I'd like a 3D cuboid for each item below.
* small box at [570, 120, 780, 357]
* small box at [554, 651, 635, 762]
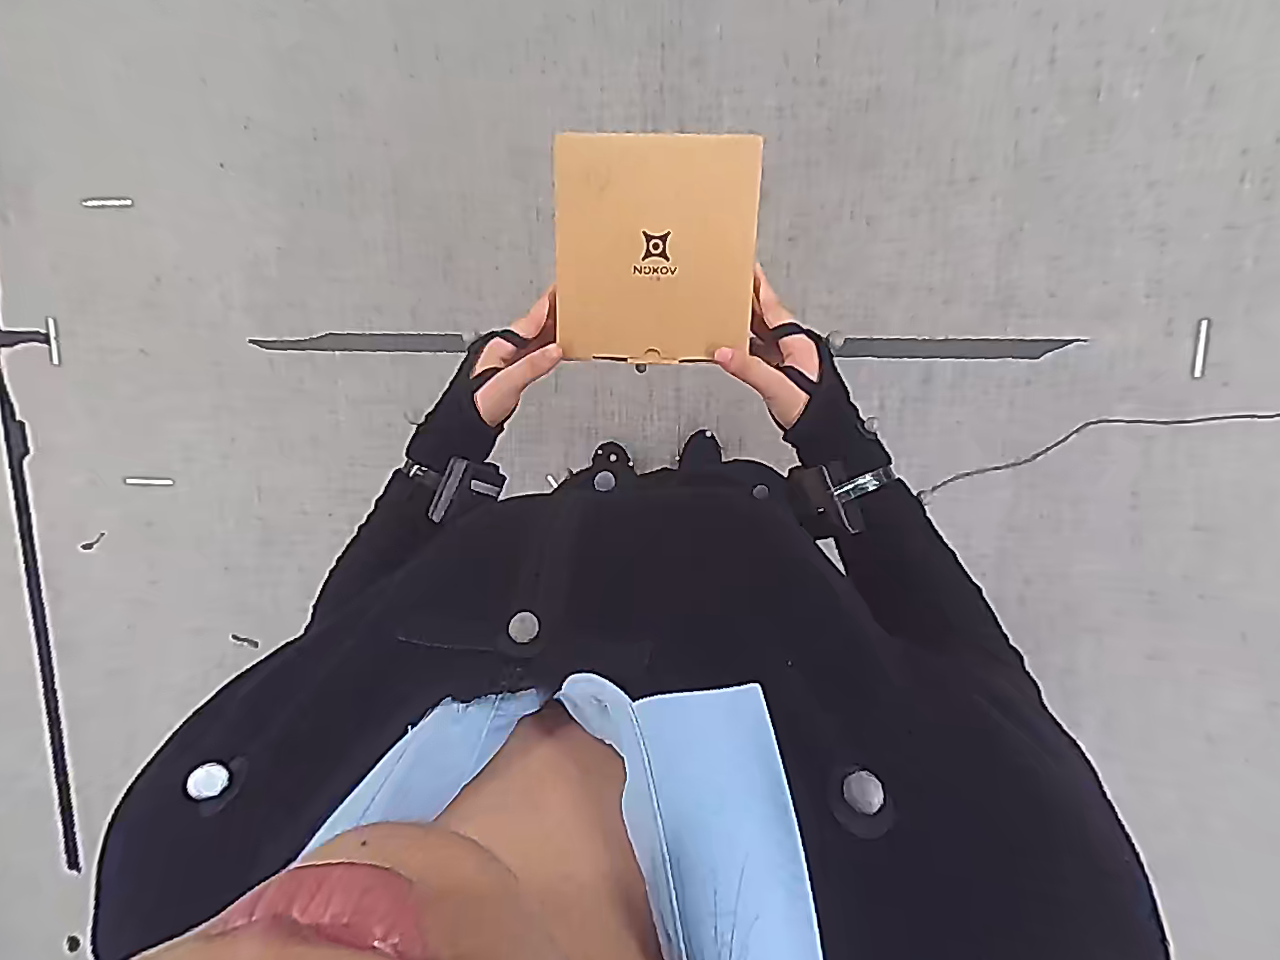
[{"bbox_3d":[0.026,-0.209,0.514,0.168,0.176,0.179,2,104,1],"label":"small box"},{"bbox_3d":[-0.103,0.530,1.280,0.168,0.176,0.179,3,97,4],"label":"small box"}]
